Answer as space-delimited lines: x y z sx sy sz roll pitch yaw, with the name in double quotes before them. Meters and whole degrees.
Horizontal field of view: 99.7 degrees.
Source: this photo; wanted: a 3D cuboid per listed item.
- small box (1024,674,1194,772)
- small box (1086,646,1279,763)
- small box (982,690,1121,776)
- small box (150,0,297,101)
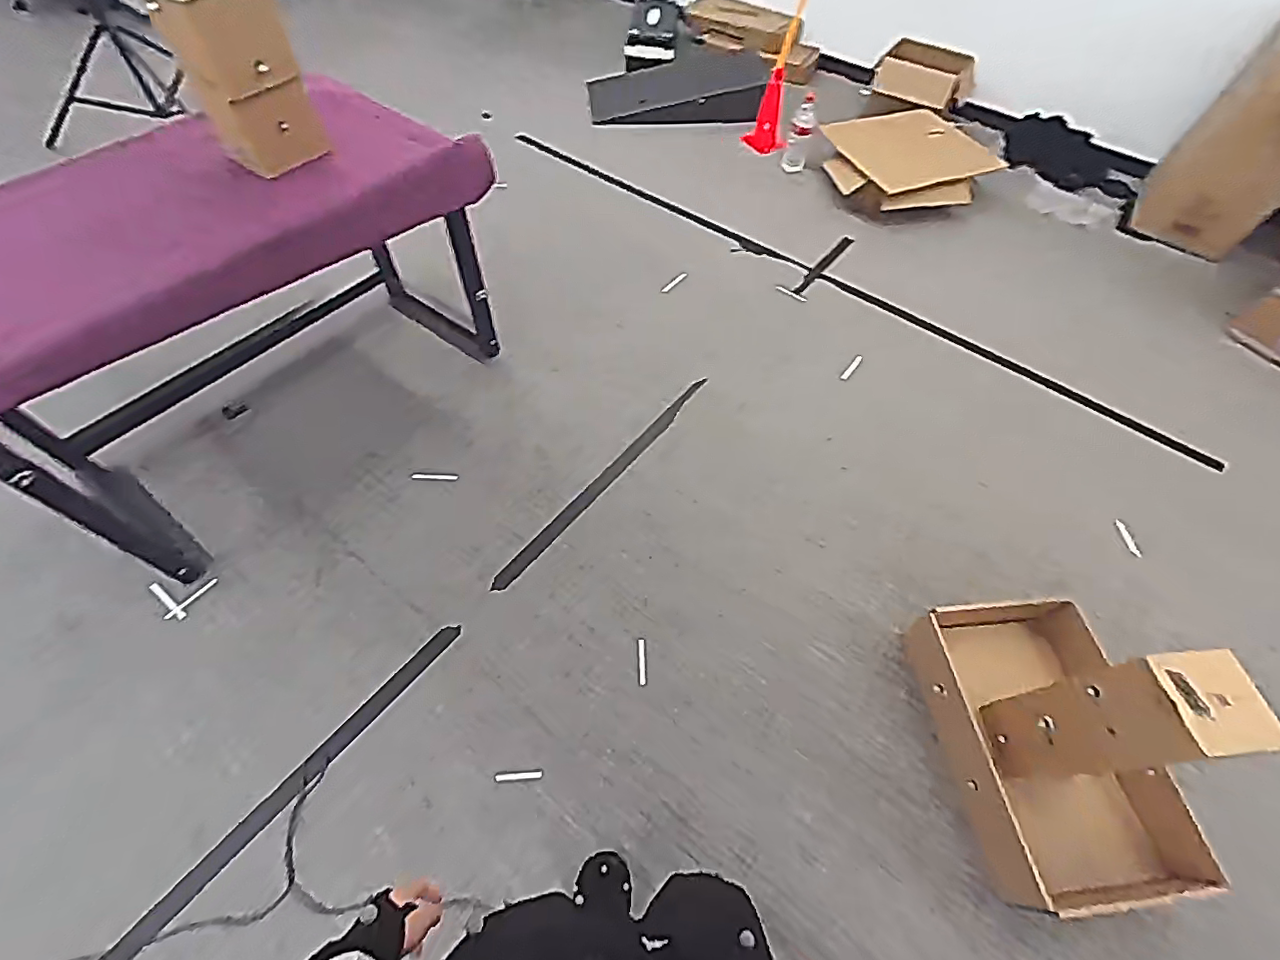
"small box" 0.963 0.505 1.128 0.179 0.176 0.168 -2 57 -4
"small box" 0.977 0.415 0.991 0.179 0.176 0.168 -2 57 -6
"small box" 0.953 0.592 1.265 0.179 0.176 0.168 -1 57 -4
"small box" -0.859 -0.931 1.125 0.168 0.176 0.179 29 61 16
